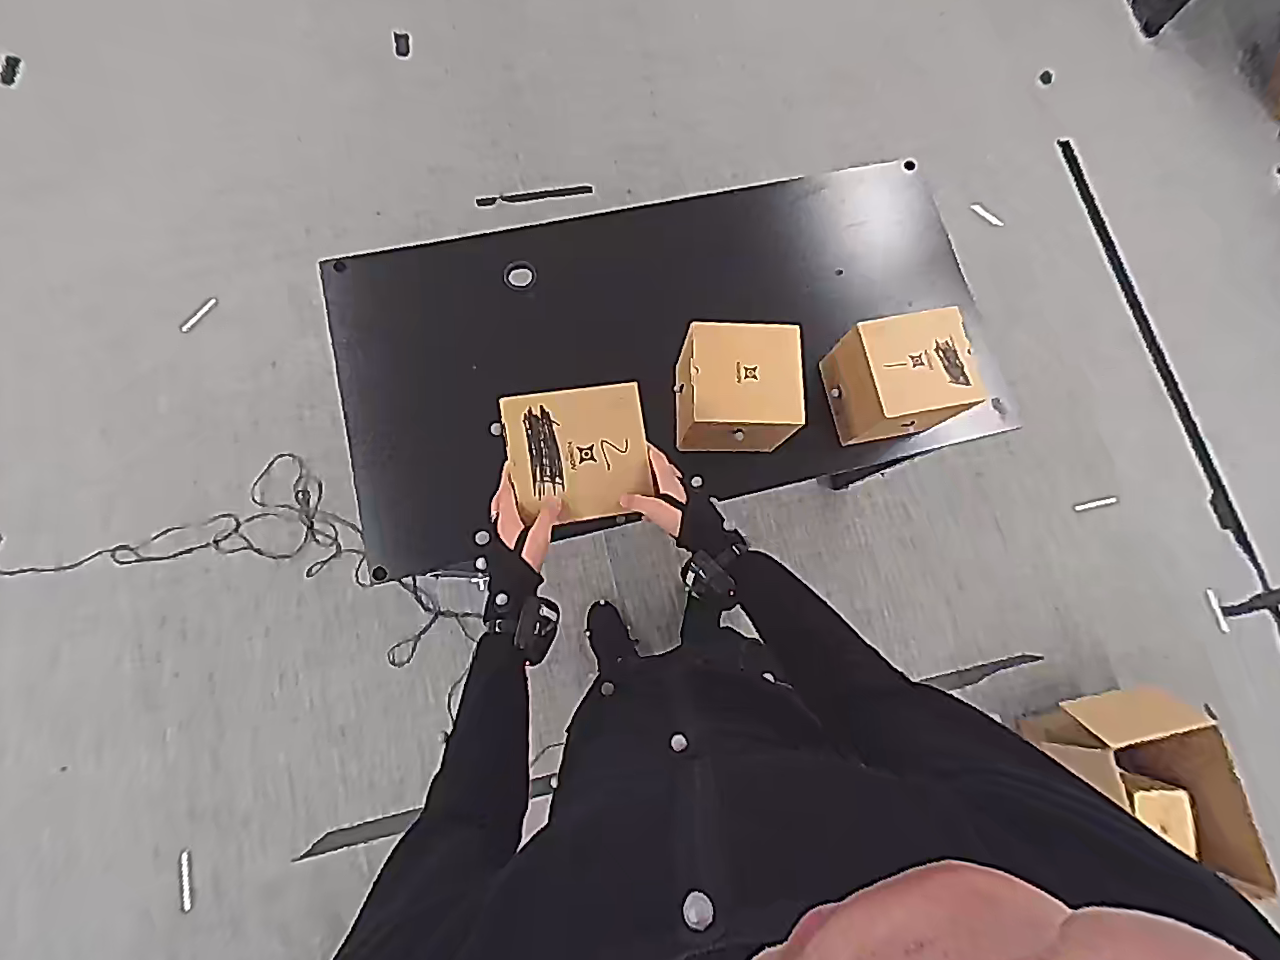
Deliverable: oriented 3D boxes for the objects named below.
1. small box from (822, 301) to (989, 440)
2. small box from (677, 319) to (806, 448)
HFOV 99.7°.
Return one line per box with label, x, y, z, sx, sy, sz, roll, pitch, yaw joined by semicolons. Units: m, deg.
small box;0.439;-0.179;0.924;0.179;0.176;0.168;-11;79;-4
small box;0.160;-0.153;0.905;0.179;0.176;0.168;0;78;-3
